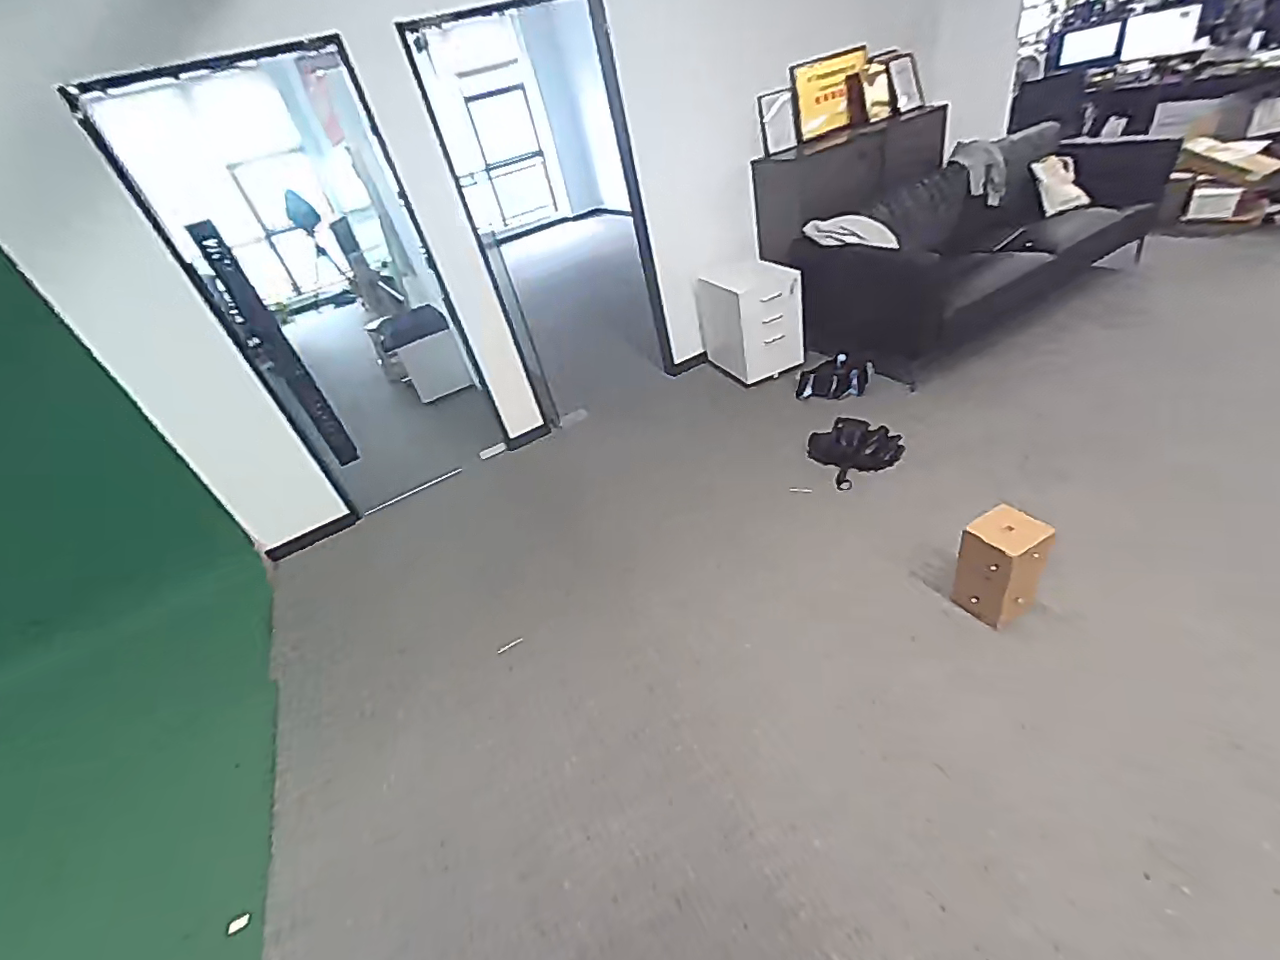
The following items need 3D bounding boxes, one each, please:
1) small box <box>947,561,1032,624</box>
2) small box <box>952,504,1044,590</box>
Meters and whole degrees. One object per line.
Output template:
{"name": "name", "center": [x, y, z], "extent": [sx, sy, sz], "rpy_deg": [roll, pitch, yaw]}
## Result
{"name": "small box", "center": [1.138, 0.338, 1.775], "extent": [0.179, 0.176, 0.168], "rpy_deg": [-27, 37, -15]}
{"name": "small box", "center": [1.103, 0.210, 1.681], "extent": [0.179, 0.176, 0.168], "rpy_deg": [-25, 37, -16]}
